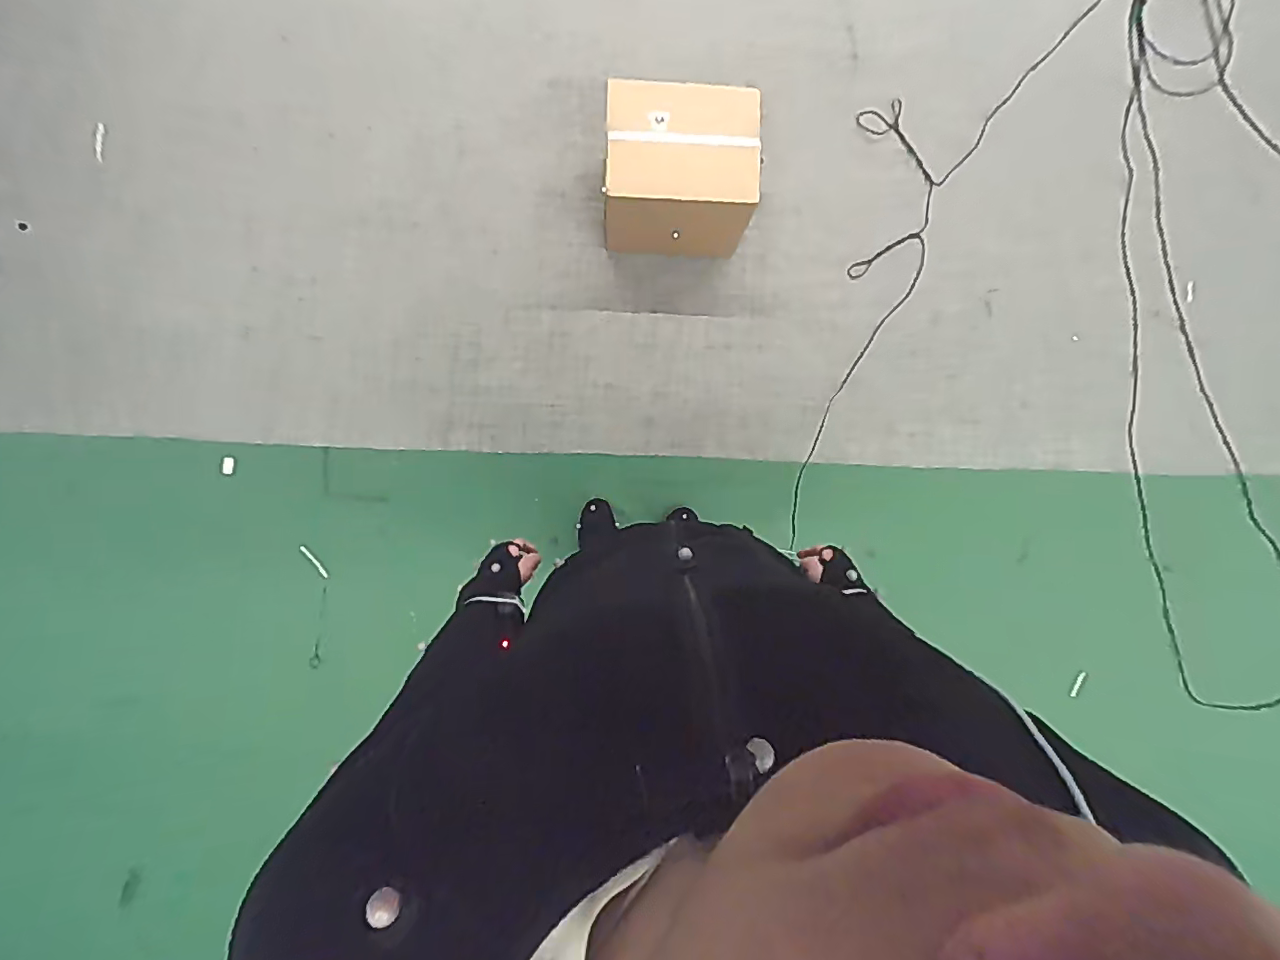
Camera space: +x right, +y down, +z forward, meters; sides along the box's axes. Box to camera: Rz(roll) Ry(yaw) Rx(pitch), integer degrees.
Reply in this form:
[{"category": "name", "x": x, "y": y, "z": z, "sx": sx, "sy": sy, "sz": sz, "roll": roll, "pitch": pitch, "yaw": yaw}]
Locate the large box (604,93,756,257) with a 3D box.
[{"category": "large box", "x": 0.101, "y": -0.863, "z": 1.570, "sx": 0.408, "sy": 0.320, "sz": 0.320, "roll": 0, "pitch": 86, "yaw": -2}]
